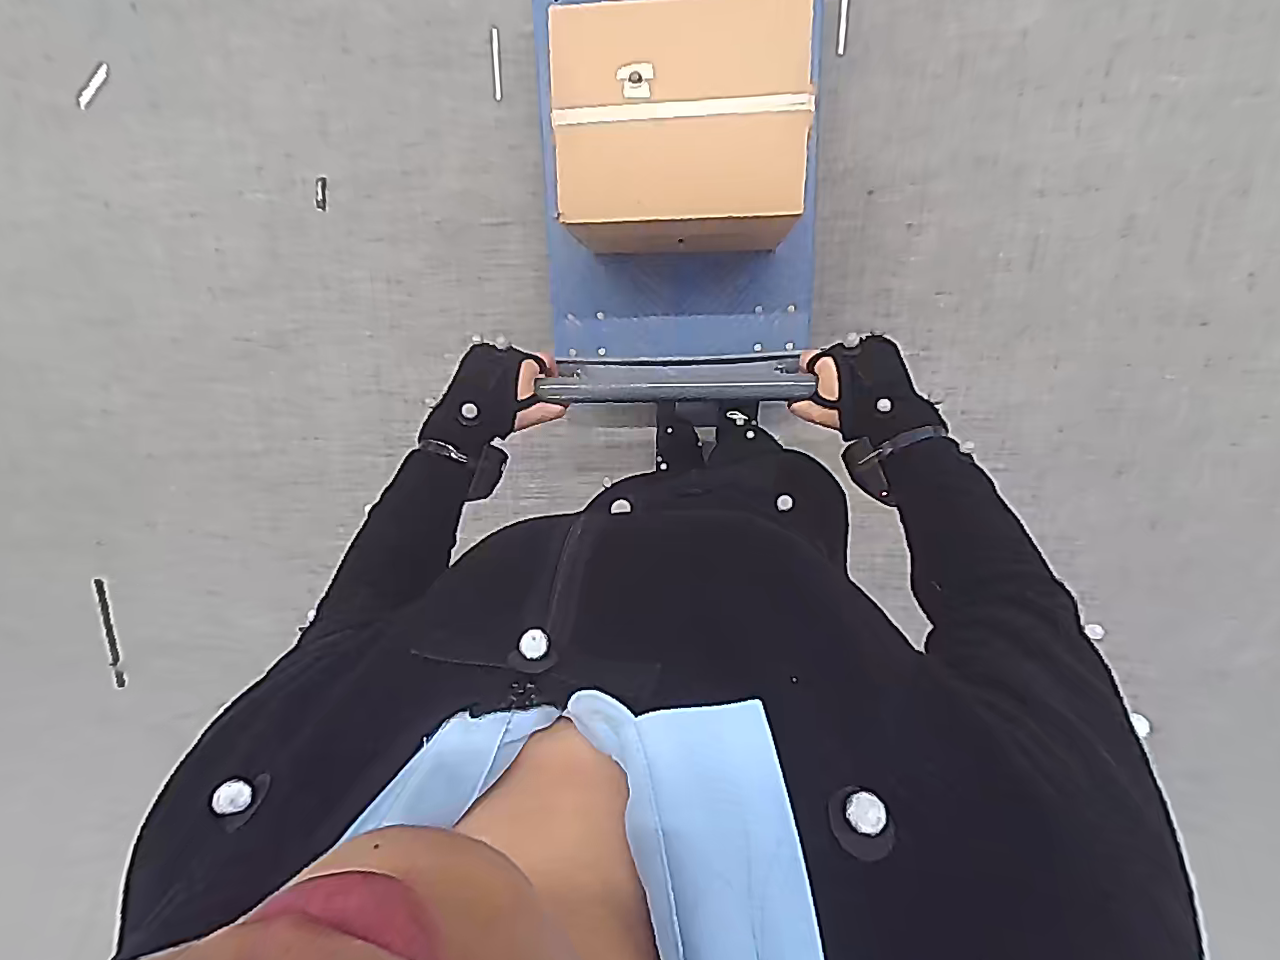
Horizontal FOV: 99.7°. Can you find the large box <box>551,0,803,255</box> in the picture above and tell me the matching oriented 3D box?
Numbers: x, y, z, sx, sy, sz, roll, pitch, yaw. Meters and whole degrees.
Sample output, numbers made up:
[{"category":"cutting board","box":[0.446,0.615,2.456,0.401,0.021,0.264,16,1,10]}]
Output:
[{"category":"large box","box":[0.076,-0.619,1.021,0.408,0.320,0.320,0,102,7]}]
